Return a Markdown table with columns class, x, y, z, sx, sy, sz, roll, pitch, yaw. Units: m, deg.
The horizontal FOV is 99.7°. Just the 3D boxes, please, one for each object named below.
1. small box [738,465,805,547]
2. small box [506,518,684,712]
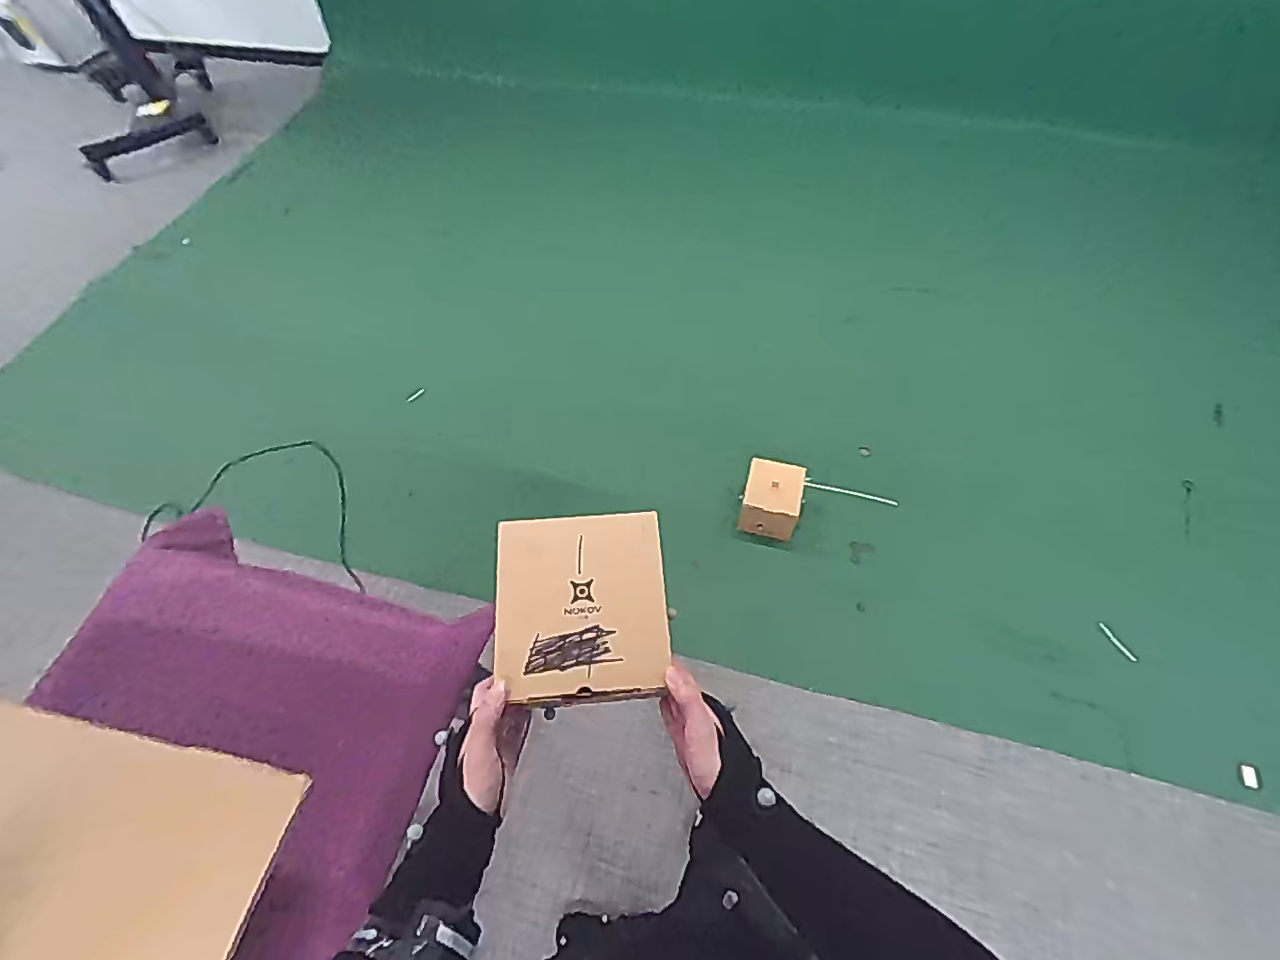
| class | x | y | z | sx | sy | sz | roll | pitch | yaw |
| --- | --- | --- | --- | --- | --- | --- | --- | --- | --- |
| small box | 0.406 | 0.083 | 1.690 | 0.168 | 0.176 | 0.179 | 12 | 60 | 10 |
| small box | -0.045 | 0.155 | 0.592 | 0.168 | 0.176 | 0.179 | -3 | 65 | -3 |
